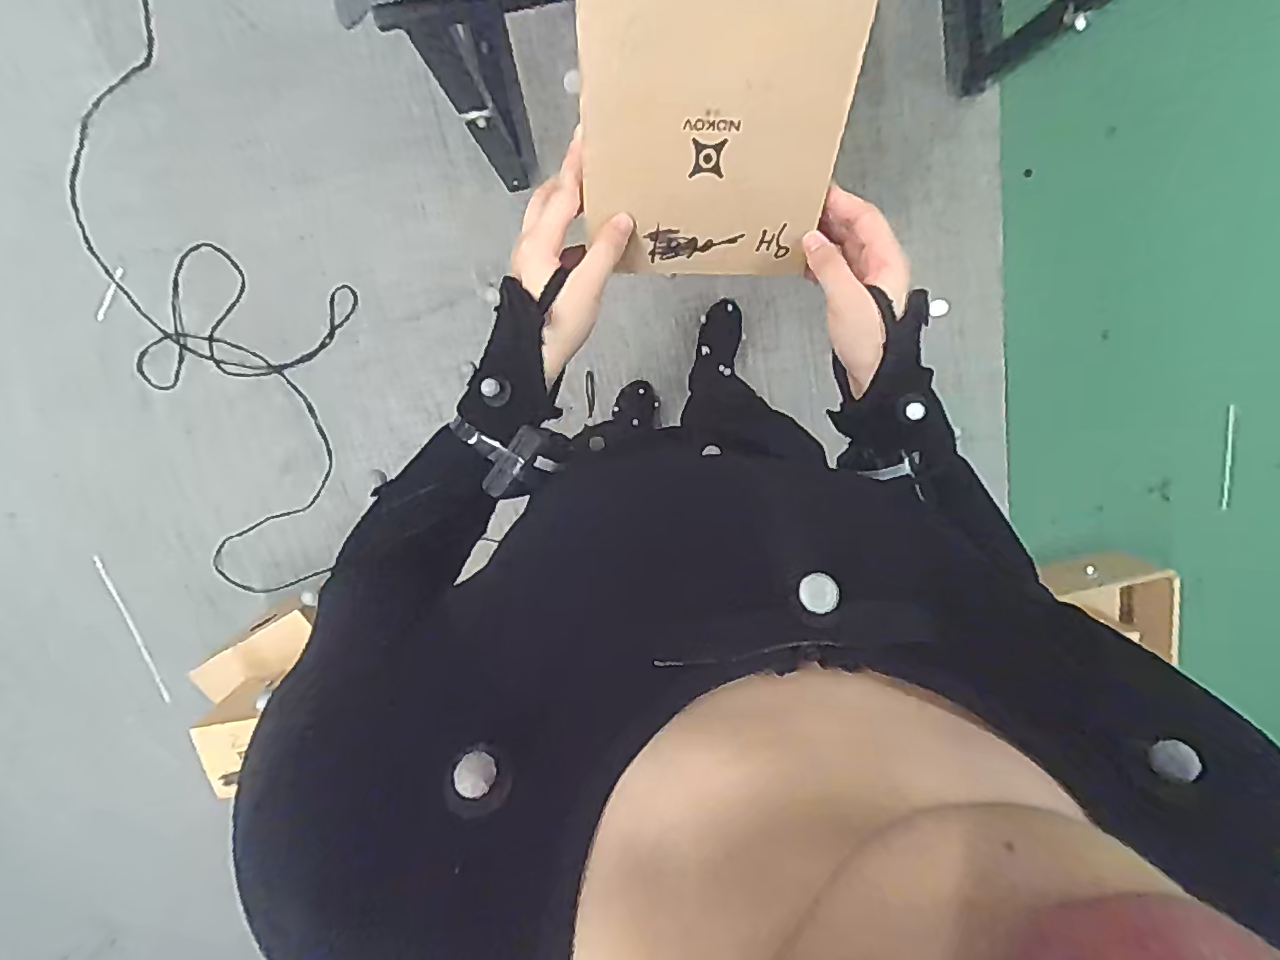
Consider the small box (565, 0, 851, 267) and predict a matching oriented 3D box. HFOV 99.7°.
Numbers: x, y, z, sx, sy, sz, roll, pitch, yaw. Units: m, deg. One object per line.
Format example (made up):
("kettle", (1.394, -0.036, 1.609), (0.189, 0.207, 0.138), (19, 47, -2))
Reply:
("small box", (0.033, -0.281, 0.404), (0.168, 0.176, 0.179), (-1, 137, -2))
